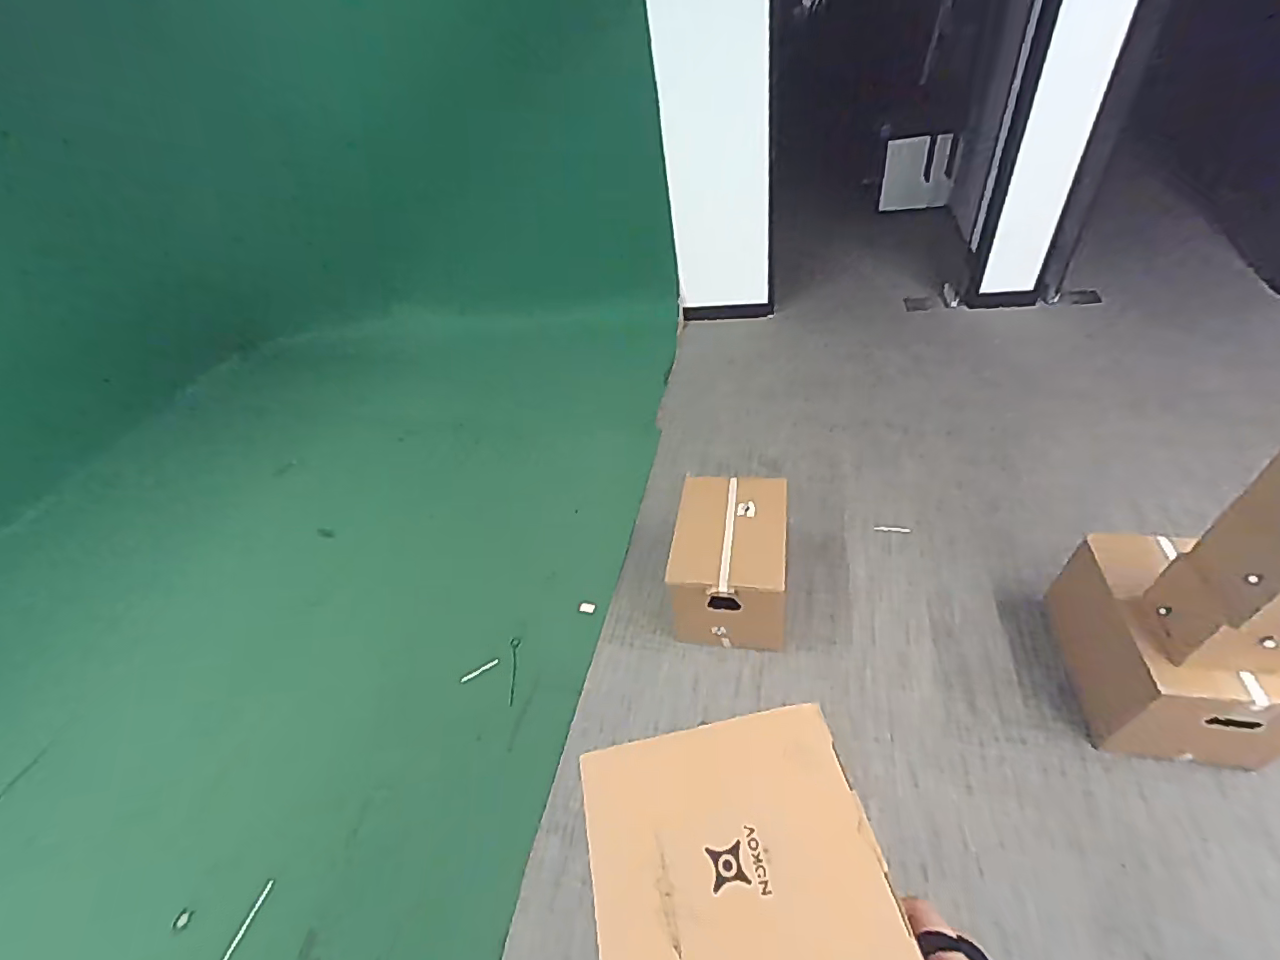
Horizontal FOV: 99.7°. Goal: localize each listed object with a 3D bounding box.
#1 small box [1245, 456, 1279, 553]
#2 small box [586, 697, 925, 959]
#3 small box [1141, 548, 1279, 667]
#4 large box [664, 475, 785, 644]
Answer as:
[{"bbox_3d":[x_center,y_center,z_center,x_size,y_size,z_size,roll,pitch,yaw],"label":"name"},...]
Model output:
[{"bbox_3d":[1.103,0.032,0.822,0.168,0.176,0.179,2,48,16],"label":"small box"},{"bbox_3d":[0.067,0.283,0.391,0.179,0.176,0.168,-12,47,-2],"label":"small box"},{"bbox_3d":[1.155,0.252,1.062,0.179,0.176,0.168,-1,46,14],"label":"small box"},{"bbox_3d":[0.273,0.236,1.626,0.320,0.320,0.408,1,45,15],"label":"large box"}]
